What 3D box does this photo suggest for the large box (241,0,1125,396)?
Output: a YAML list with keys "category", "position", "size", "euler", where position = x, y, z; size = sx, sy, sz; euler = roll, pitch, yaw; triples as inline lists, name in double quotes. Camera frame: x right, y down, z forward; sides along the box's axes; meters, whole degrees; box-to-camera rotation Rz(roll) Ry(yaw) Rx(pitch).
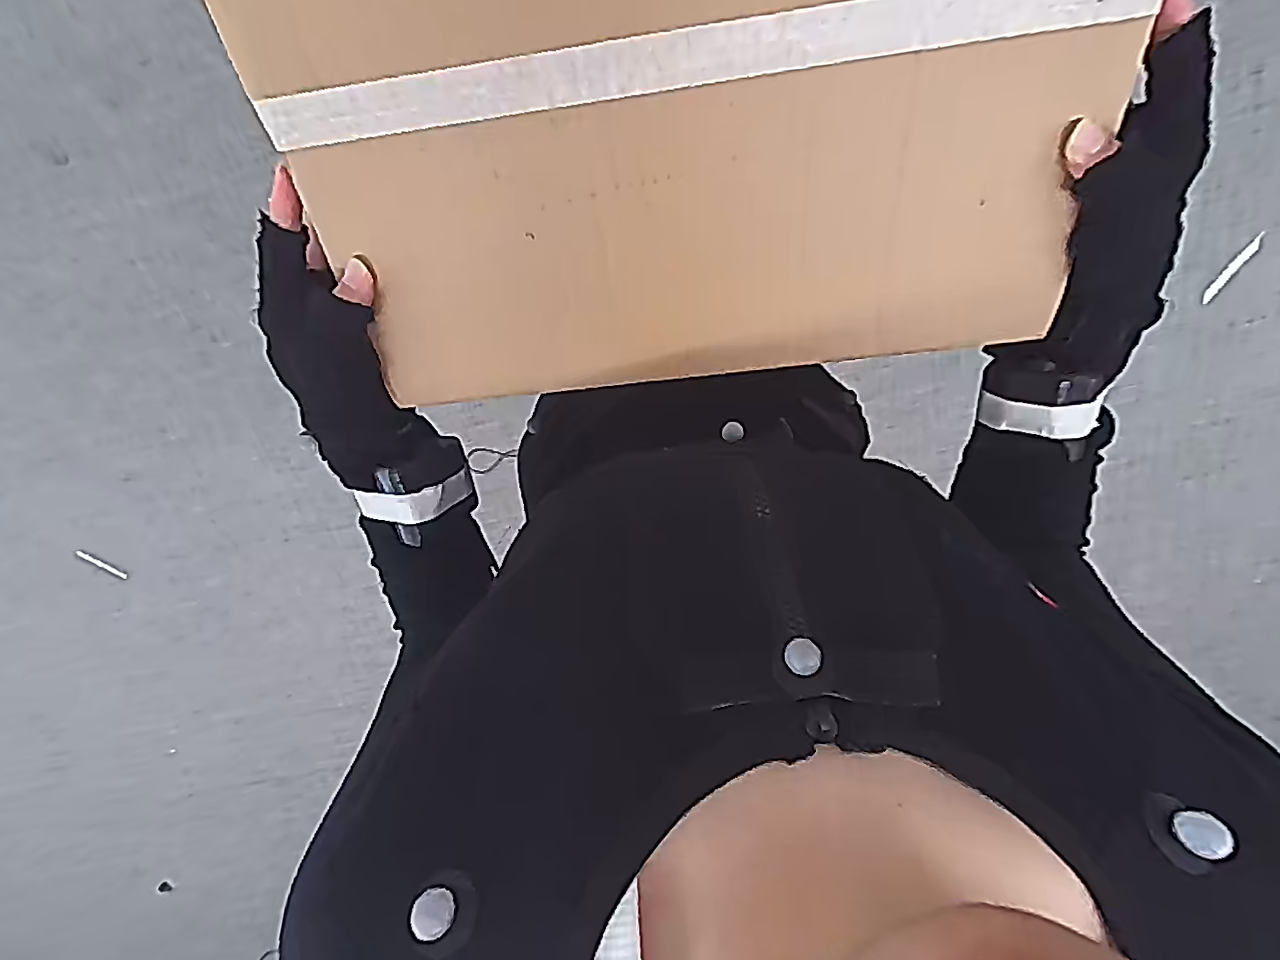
- category: "large box"
  position: [0.020, -0.285, 0.377]
  size: [0.408, 0.320, 0.320]
  euler: [-5, 127, 4]
